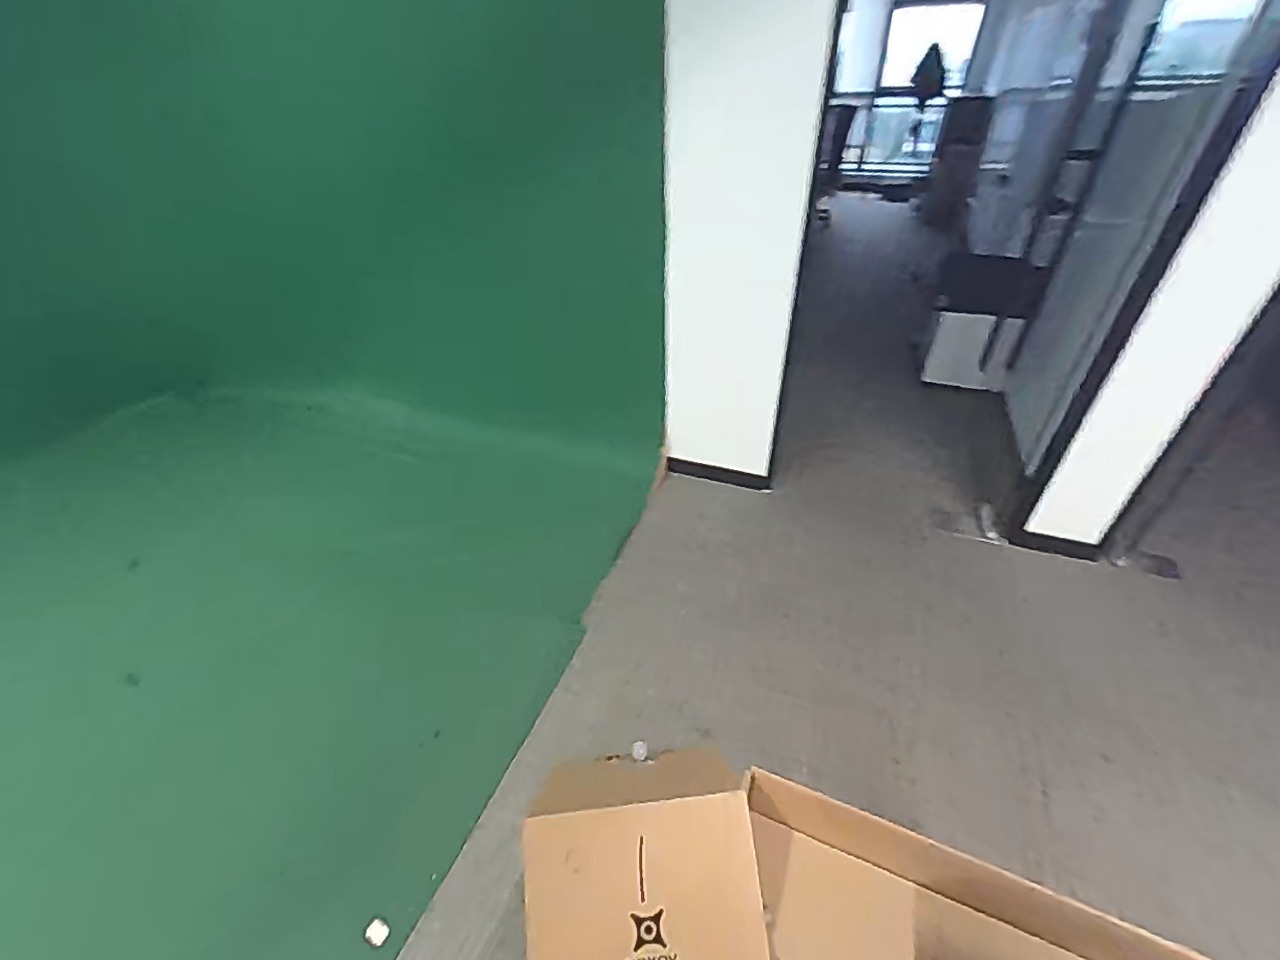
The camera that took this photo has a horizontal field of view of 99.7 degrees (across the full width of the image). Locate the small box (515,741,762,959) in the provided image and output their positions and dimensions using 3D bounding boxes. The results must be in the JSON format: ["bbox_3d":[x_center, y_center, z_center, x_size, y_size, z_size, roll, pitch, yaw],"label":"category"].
[{"bbox_3d":[0.000,0.335,0.444,0.168,0.176,0.179,-7,75,-3],"label":"small box"}]
